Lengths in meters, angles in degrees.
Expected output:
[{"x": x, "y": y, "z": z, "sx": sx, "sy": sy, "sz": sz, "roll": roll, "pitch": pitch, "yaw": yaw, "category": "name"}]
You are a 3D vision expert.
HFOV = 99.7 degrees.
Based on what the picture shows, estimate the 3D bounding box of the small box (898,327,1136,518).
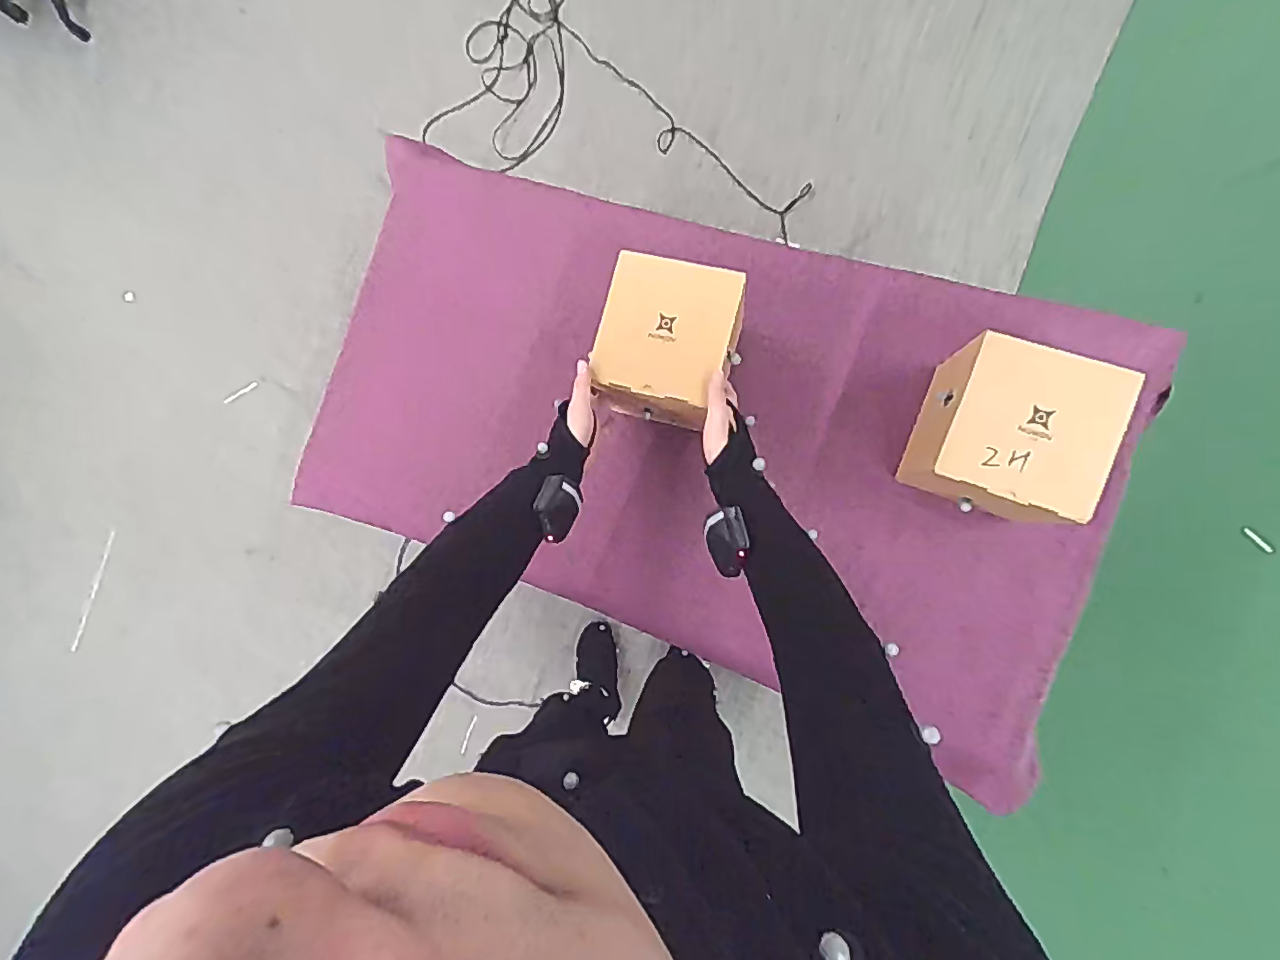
[{"x": 0.453, "y": -0.063, "z": 0.684, "sx": 0.168, "sy": 0.176, "sz": 0.179, "roll": 21, "pitch": 92, "yaw": 12, "category": "small box"}]

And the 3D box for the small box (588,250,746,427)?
[{"x": 0.042, "y": -0.185, "z": 0.752, "sx": 0.168, "sy": 0.176, "sz": 0.179, "roll": 14, "pitch": 89, "yaw": 8, "category": "small box"}]
